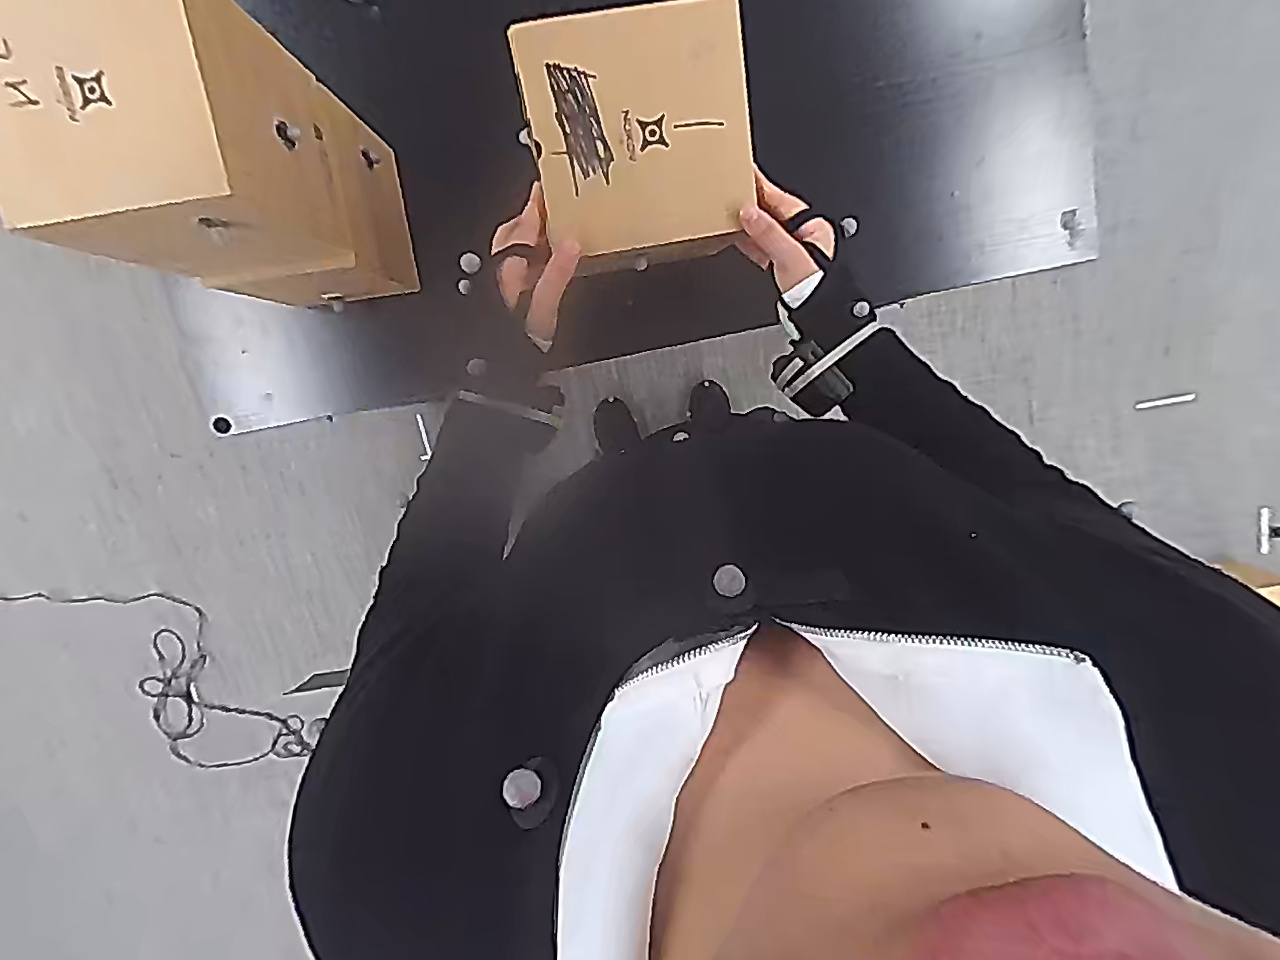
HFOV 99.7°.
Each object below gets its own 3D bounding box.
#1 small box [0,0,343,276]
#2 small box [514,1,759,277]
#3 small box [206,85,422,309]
[{"bbox_3d":[-0.384,-0.283,0.459,0.179,0.176,0.168,-8,99,2],"label":"small box"},{"bbox_3d":[-0.004,-0.291,0.501,0.179,0.176,0.168,-10,107,-3],"label":"small box"},{"bbox_3d":[-0.377,-0.307,0.623,0.168,0.176,0.179,-8,101,2],"label":"small box"}]
